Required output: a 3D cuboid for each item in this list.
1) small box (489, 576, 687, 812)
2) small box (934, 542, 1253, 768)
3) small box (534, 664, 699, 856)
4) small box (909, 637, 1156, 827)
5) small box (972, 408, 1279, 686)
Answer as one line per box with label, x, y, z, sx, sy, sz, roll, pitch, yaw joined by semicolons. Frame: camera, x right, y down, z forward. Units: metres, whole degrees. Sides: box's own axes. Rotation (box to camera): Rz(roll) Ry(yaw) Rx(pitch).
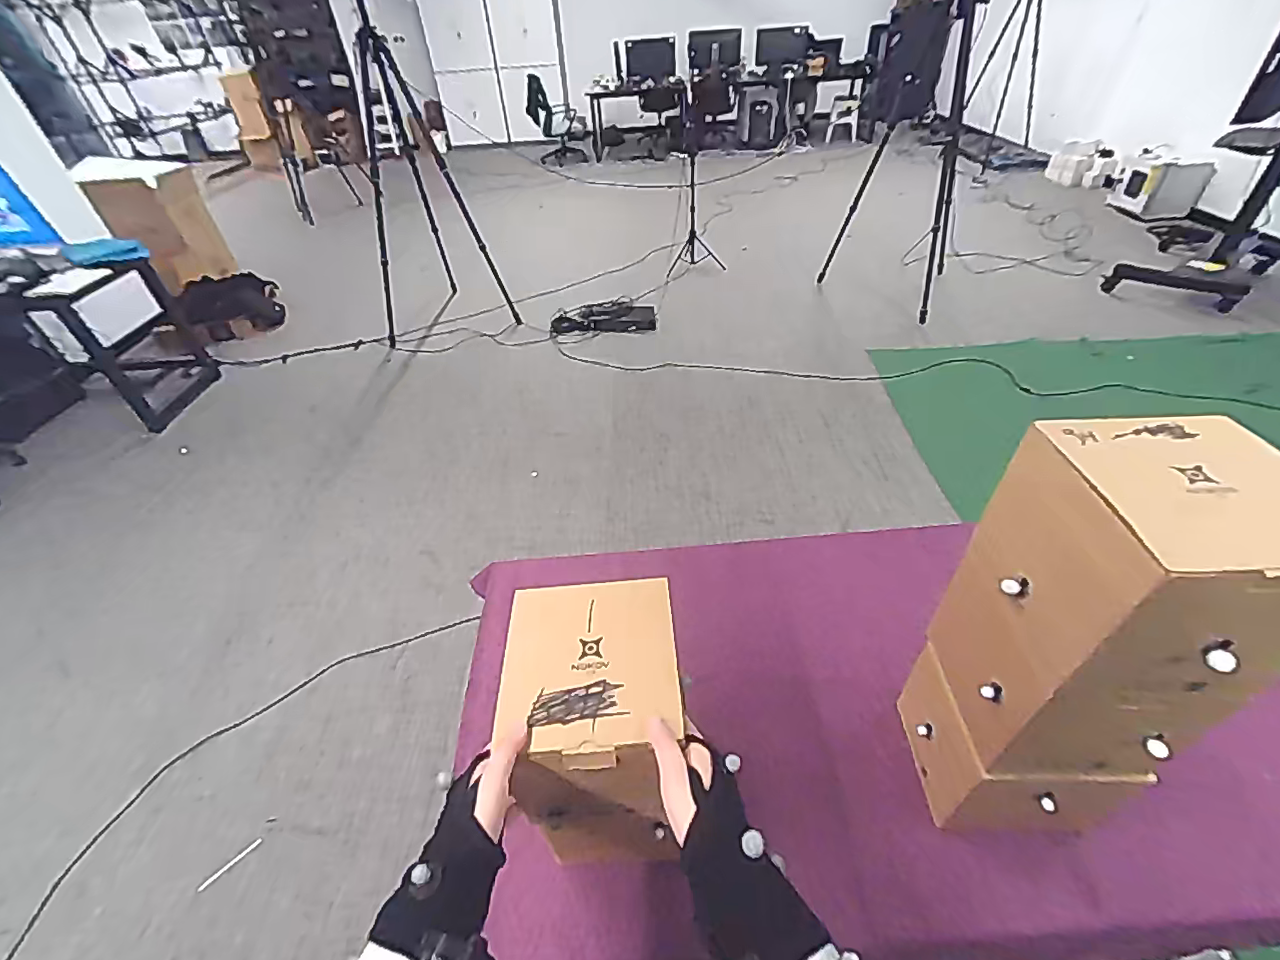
small box;-0.042;0.227;0.566;0.168;0.176;0.179;-5;40;2
small box;0.440;0.182;0.569;0.168;0.176;0.179;-1;41;5
small box;-0.021;0.354;0.681;0.179;0.176;0.168;-4;41;2
small box;0.454;0.310;0.669;0.179;0.176;0.168;-1;42;5
small box;0.424;0.059;0.461;0.168;0.176;0.179;-1;42;4
